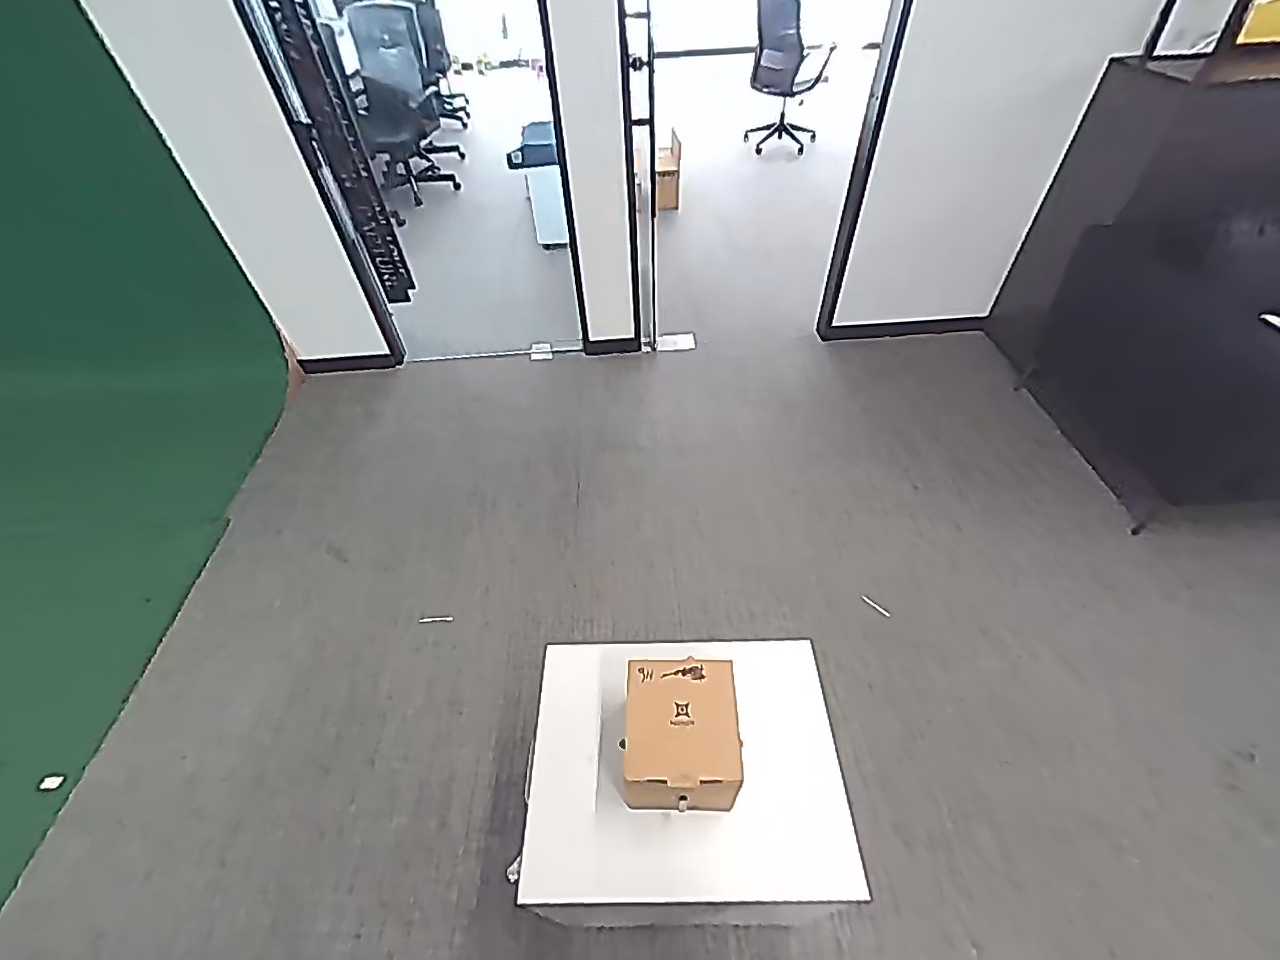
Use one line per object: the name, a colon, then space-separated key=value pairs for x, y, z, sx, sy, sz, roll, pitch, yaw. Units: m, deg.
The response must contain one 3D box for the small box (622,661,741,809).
small box: x=0.061 y=0.405 z=0.851 sx=0.168 sy=0.176 sz=0.179 roll=-2 pitch=47 yaw=1
